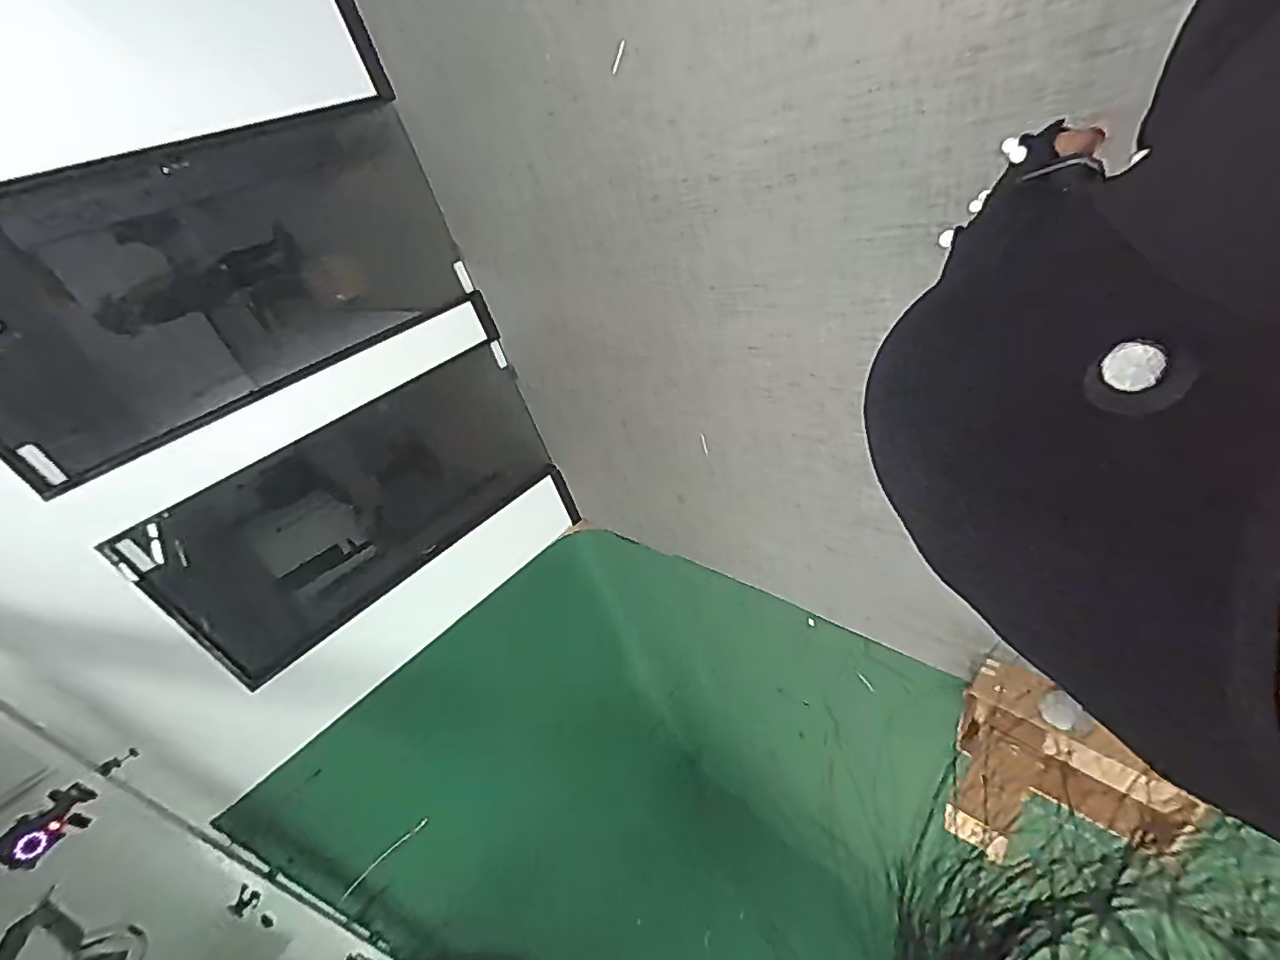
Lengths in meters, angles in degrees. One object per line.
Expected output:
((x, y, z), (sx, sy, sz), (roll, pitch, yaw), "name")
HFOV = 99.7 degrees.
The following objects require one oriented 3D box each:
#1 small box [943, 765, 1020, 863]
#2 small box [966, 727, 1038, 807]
((1.095, 1.067, 1.736), (0.168, 0.176, 0.179), (18, 137, 43), "small box")
((1.207, 0.980, 1.818), (0.168, 0.176, 0.179), (21, 137, 41), "small box")
